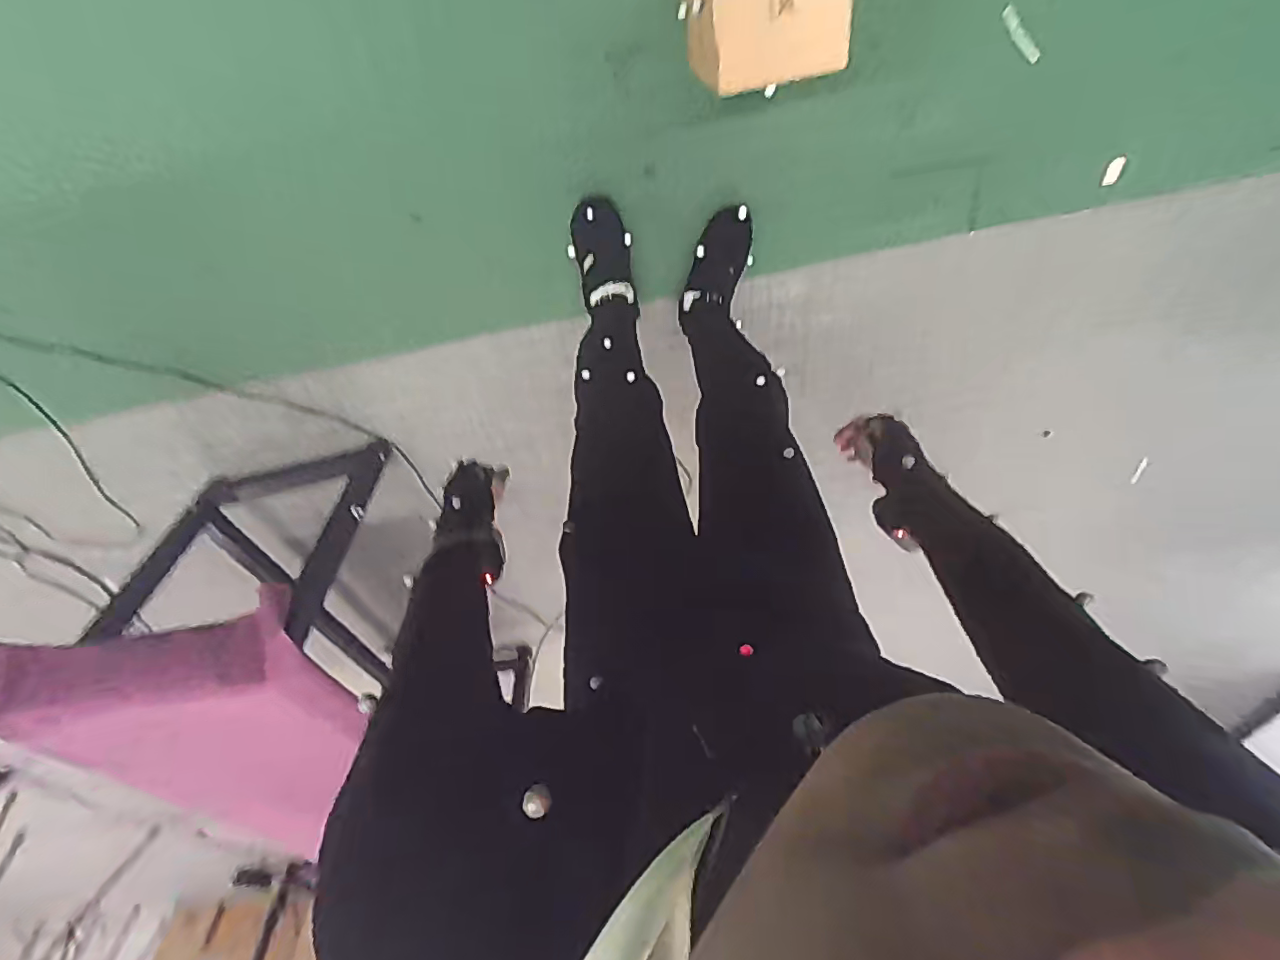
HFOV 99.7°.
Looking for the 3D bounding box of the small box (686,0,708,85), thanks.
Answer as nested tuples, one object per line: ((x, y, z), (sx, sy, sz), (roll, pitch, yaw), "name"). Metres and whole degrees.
((0.173, -0.761, 0.872), (0.179, 0.176, 0.168), (-9, 131, 4), "small box")

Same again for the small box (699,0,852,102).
((0.181, -0.652, 0.751), (0.179, 0.176, 0.168), (-9, 131, 5), "small box")
